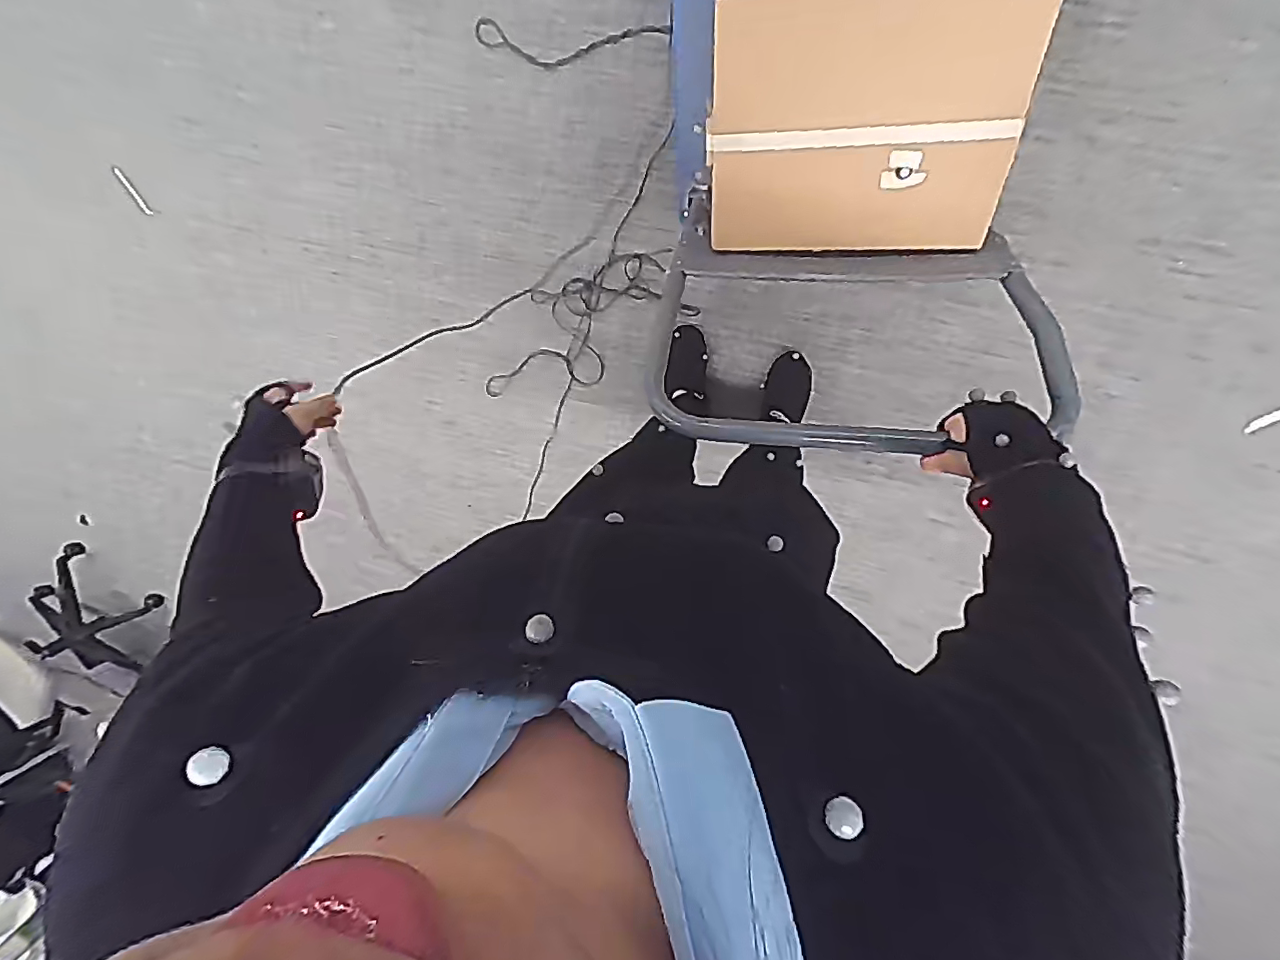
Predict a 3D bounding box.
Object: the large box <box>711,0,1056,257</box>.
[{"bbox_3d":[0.323,-0.566,0.856,0.408,0.320,0.320,4,133,10],"label":"large box"}]
